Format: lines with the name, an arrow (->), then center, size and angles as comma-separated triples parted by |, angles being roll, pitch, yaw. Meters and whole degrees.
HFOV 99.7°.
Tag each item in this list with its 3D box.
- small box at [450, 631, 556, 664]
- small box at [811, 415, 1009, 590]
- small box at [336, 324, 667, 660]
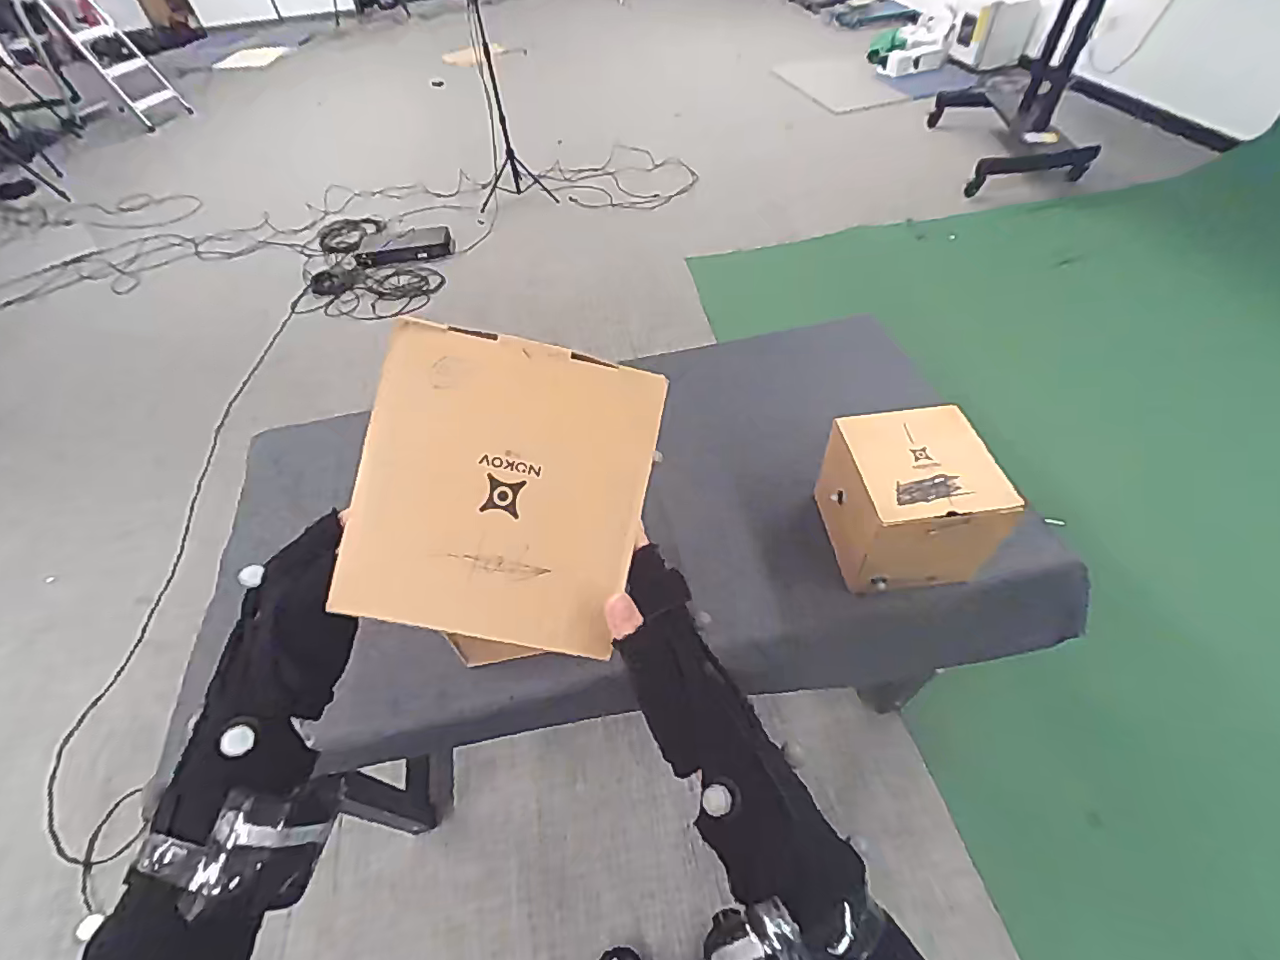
small box -> -0.159, 0.122, 0.710 | 0.179, 0.176, 0.168 | -10, 49, -4
small box -> 0.347, 0.038, 0.738 | 0.168, 0.176, 0.179 | -6, 49, 0
small box -> -0.087, 0.011, 0.402 | 0.168, 0.176, 0.179 | 12, 87, -5
